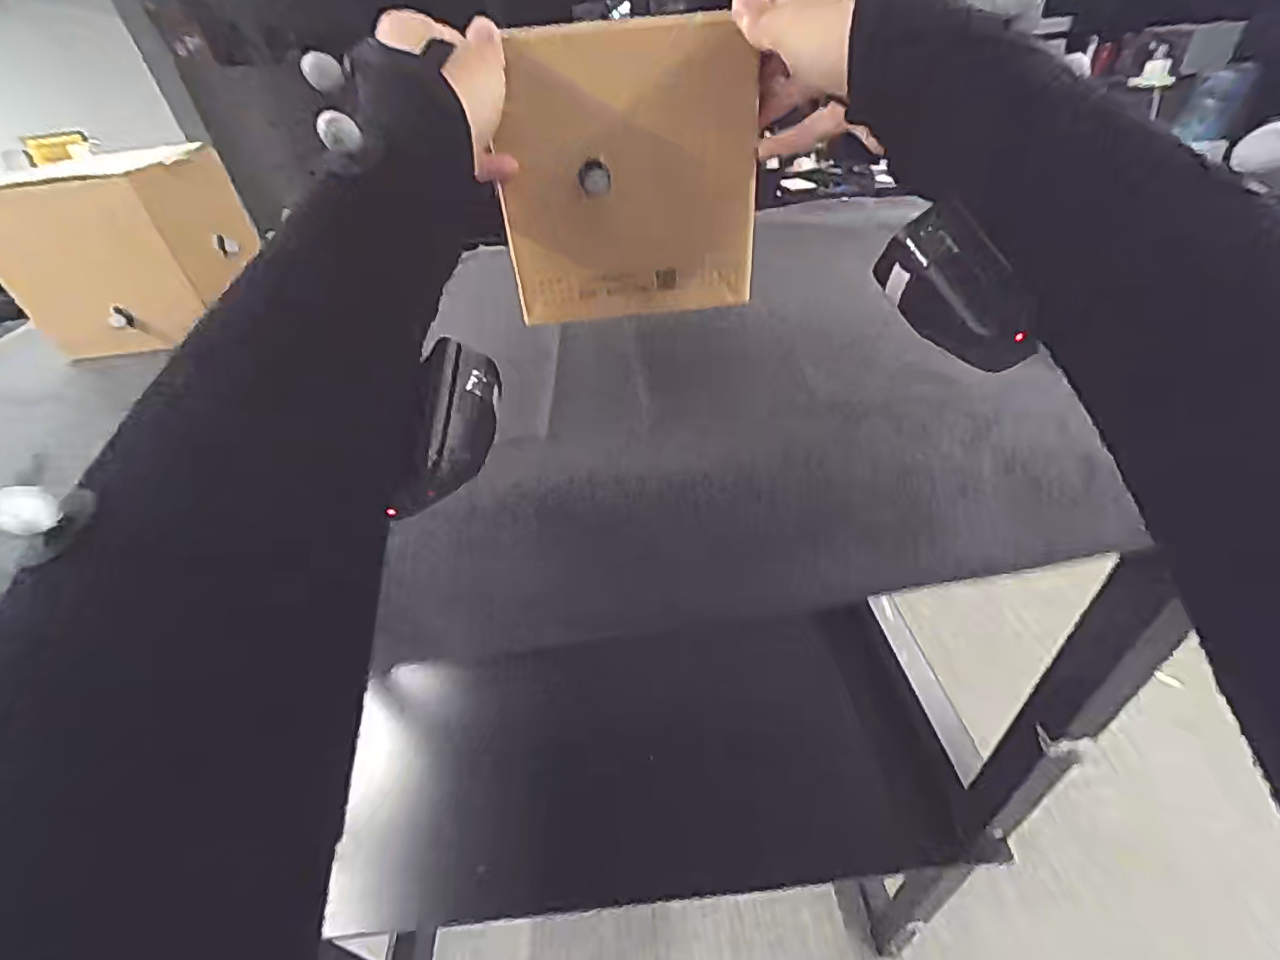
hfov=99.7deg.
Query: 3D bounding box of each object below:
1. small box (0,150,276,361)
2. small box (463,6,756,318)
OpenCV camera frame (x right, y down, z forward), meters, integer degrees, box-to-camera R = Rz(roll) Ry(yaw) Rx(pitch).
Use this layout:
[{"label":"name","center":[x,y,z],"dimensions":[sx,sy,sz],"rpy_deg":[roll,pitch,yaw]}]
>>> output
[{"label":"small box","center":[-0.554,-0.249,0.600],"dimensions":[0.179,0.176,0.168],"rpy_deg":[-8,39,-3]},{"label":"small box","center":[-0.017,-0.229,0.405],"dimensions":[0.168,0.176,0.179],"rpy_deg":[-7,37,-3]}]
